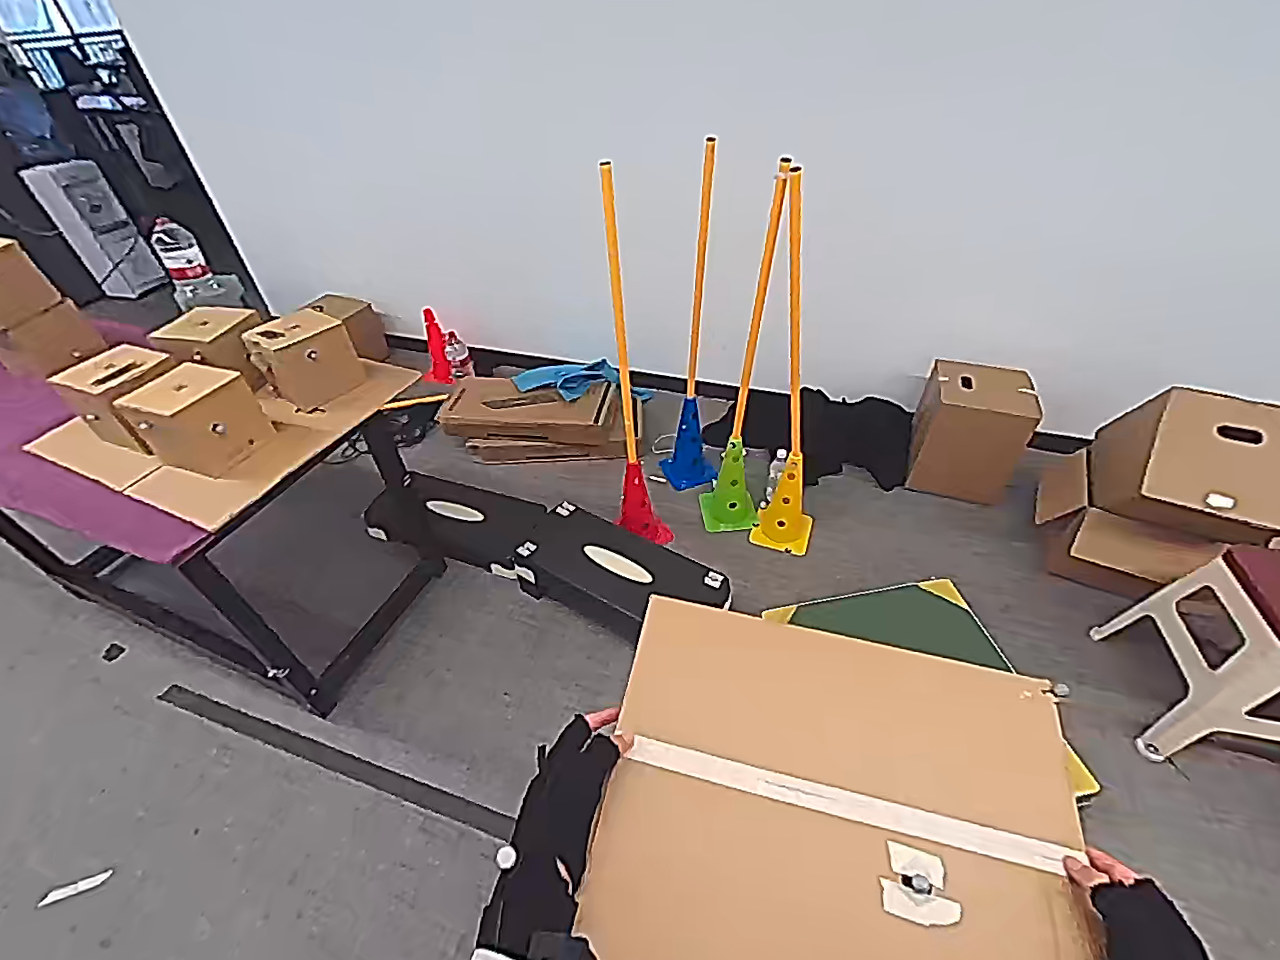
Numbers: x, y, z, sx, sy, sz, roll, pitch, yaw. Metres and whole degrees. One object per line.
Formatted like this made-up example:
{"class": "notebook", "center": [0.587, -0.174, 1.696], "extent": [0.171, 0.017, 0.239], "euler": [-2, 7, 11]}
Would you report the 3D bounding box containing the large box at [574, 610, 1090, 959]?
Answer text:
{"class": "large box", "center": [0.175, 0.387, 0.605], "extent": [0.408, 0.320, 0.320], "euler": [11, 54, 10]}
